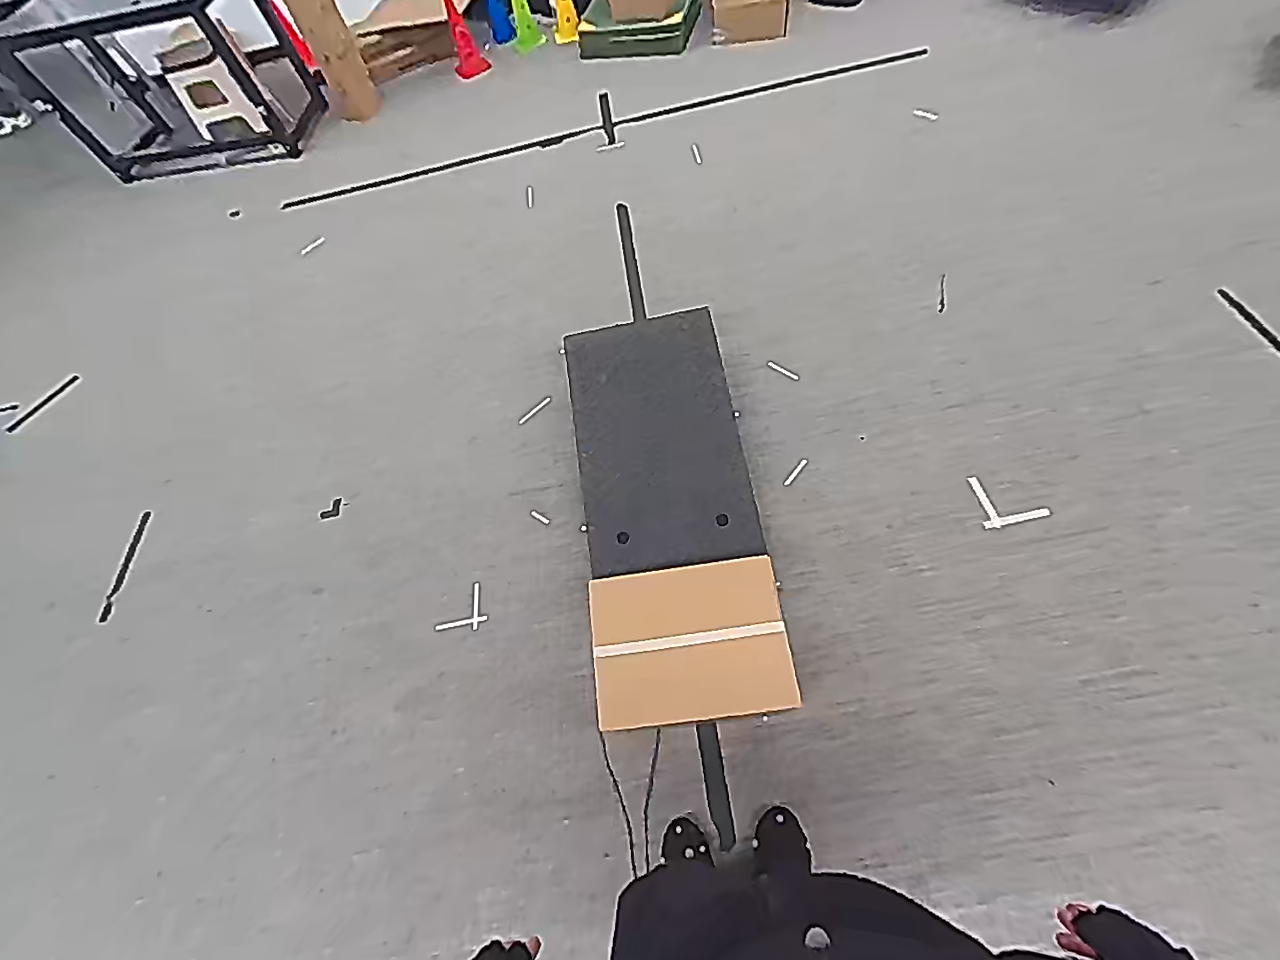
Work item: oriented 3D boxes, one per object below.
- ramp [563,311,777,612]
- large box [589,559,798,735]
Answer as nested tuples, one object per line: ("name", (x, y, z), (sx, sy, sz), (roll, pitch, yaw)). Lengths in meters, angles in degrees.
("ramp", (0.058, -0.051, 1.615), (0.509, 0.206, 0.991), (-11, 60, 1))
("large box", (0.118, 0.402, 1.267), (0.408, 0.320, 0.320), (-9, 64, 4))
